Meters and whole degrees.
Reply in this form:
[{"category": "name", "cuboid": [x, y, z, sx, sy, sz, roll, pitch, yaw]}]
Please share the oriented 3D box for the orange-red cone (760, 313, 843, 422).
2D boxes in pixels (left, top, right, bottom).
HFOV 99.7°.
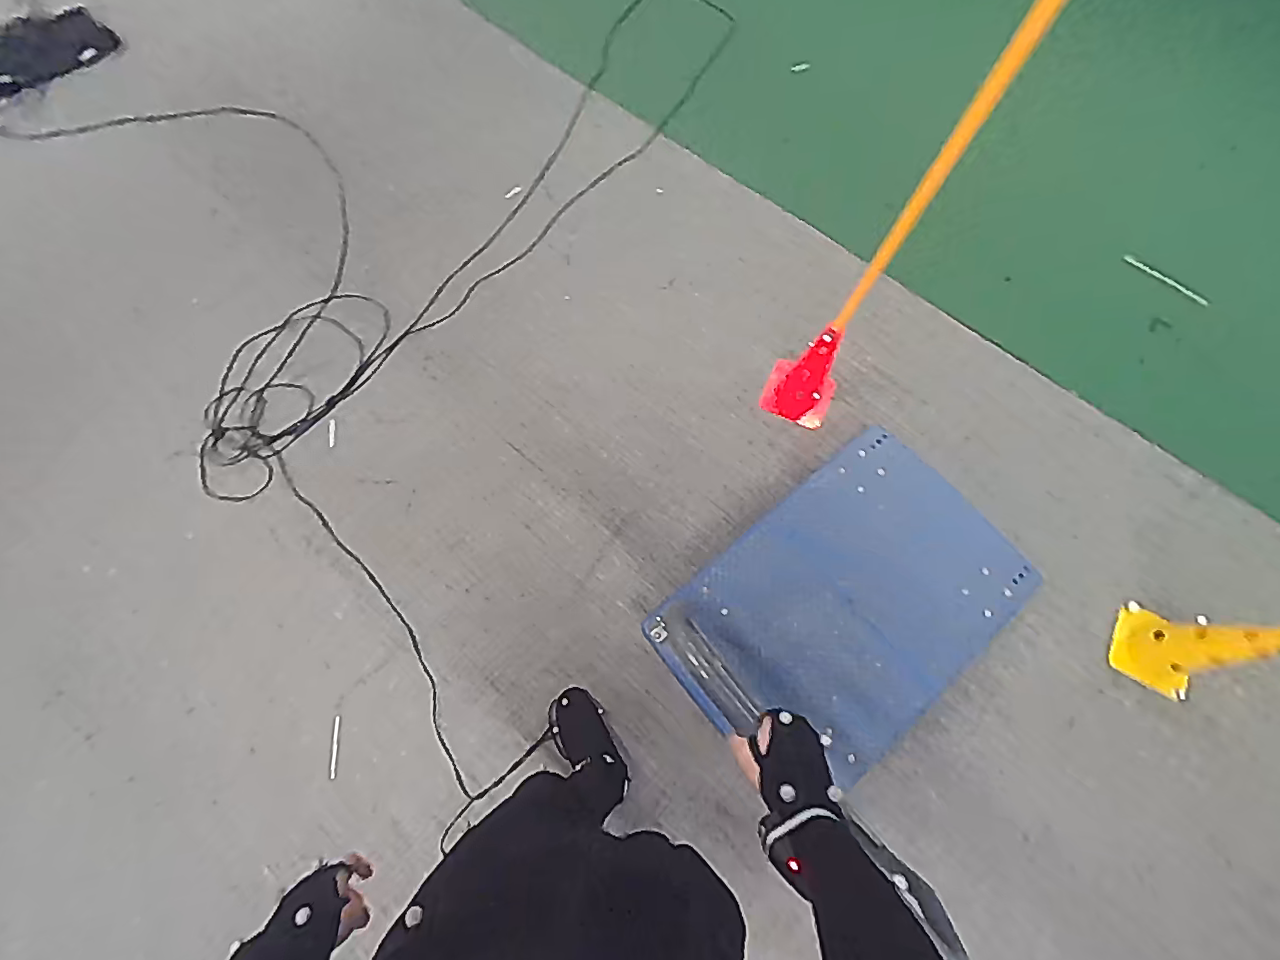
[{"category": "orange-red cone", "cuboid": [0.501, -0.353, 1.557, 0.199, 0.360, 0.198, 25, 71, 9]}]
